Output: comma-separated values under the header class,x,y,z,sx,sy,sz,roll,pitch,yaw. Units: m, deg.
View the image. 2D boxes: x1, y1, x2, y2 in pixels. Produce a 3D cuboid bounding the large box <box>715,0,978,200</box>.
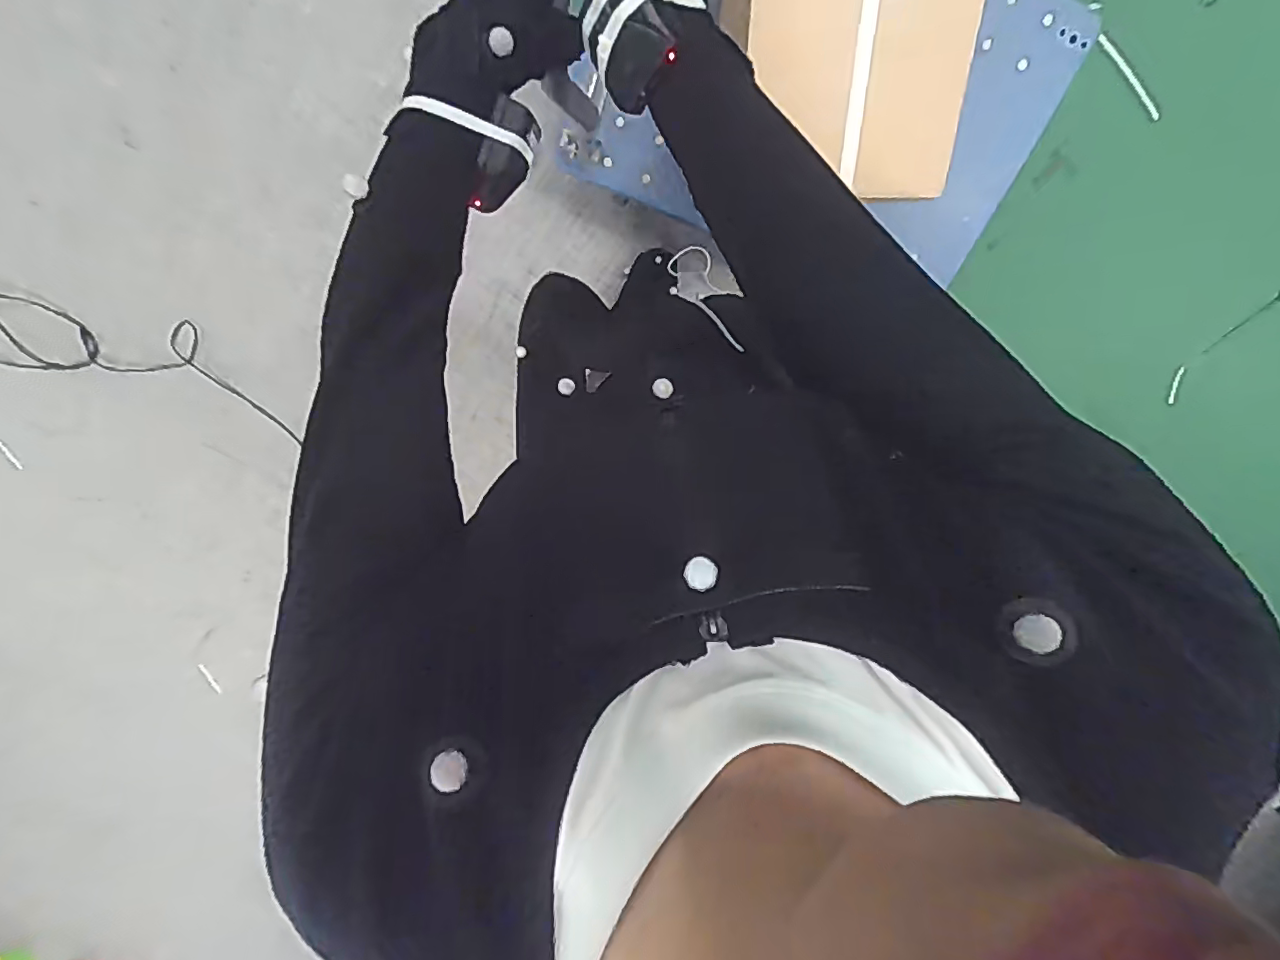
class,x,y,z,sx,sy,sz,roll,pitch,yaw
large box,0.297,-0.677,0.860,0.320,0.320,0.408,1,115,-1
